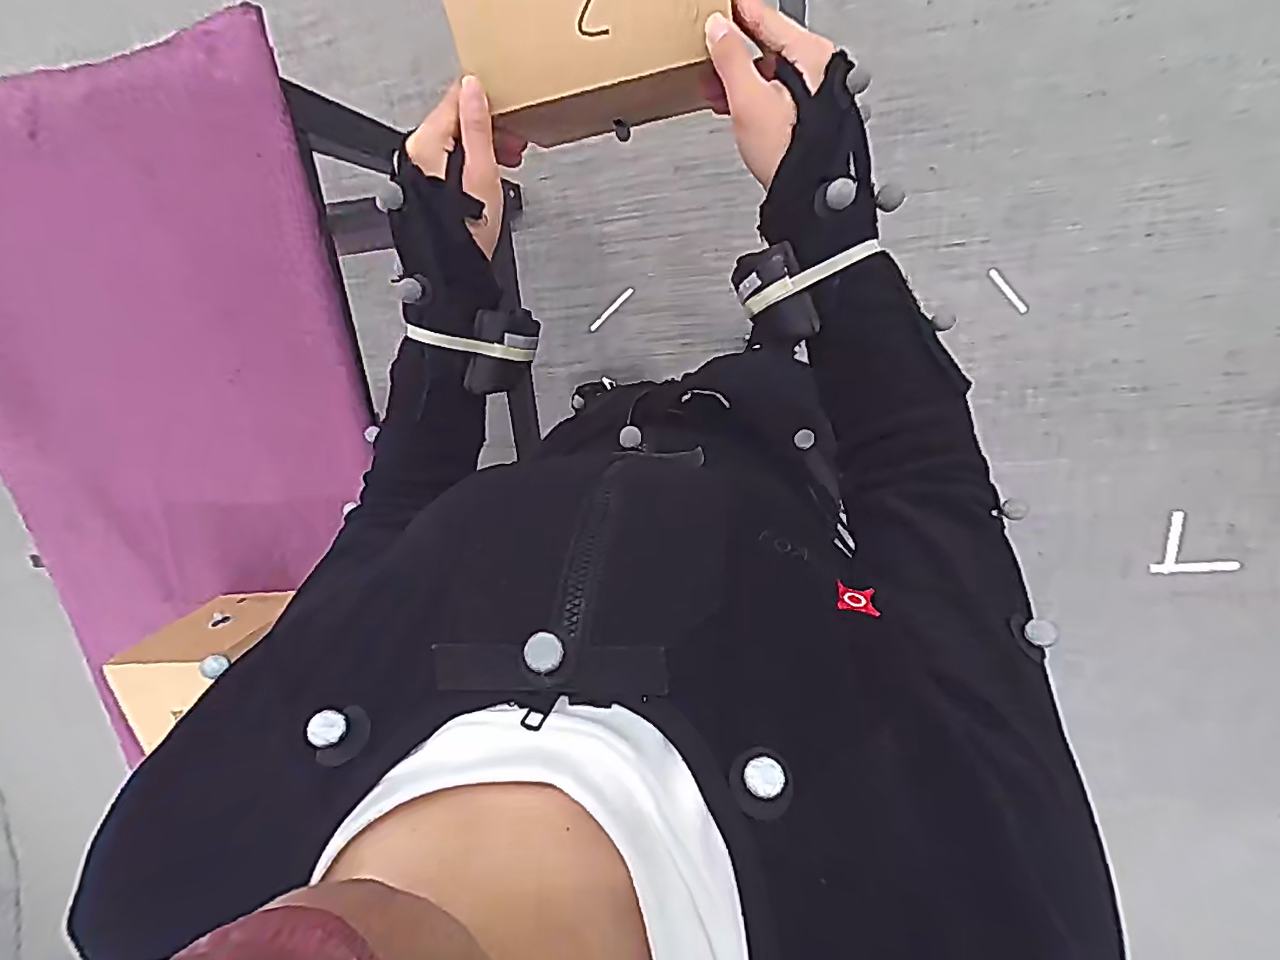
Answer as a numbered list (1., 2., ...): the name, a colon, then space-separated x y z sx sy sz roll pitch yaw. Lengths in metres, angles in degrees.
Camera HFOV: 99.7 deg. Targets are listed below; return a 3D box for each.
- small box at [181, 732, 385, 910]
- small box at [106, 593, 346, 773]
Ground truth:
1. small box: -0.522 0.508 0.823 0.179 0.176 0.168 -8 107 14
2. small box: -0.548 0.266 0.742 0.168 0.176 0.179 -6 107 13
